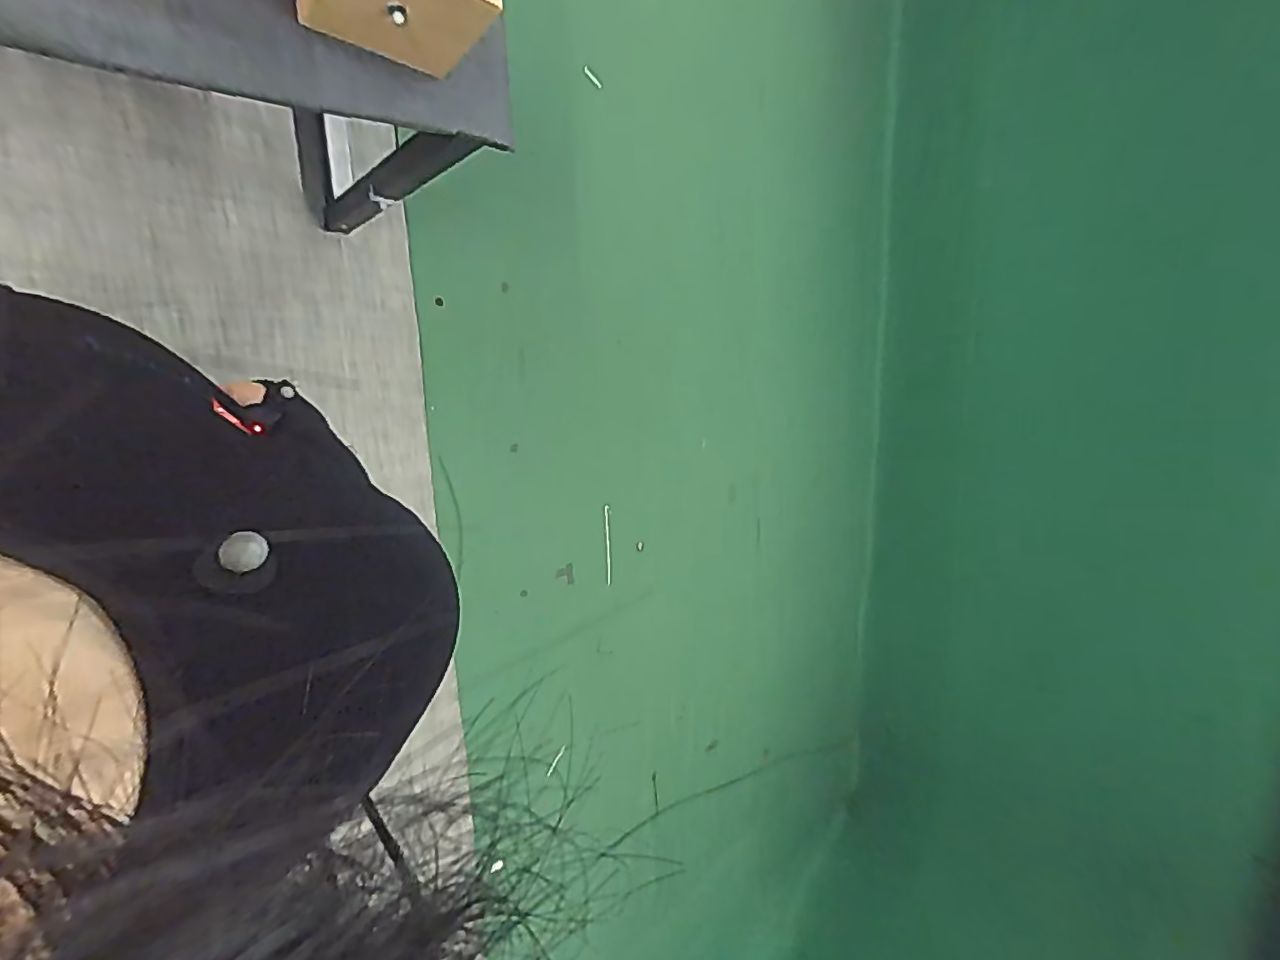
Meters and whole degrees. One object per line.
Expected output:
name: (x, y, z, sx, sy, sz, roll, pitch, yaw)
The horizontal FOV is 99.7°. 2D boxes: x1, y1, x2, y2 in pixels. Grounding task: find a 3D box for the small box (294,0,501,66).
small box: (-0.281, -0.617, 0.612, 0.179, 0.176, 0.168, -10, 100, -43)
